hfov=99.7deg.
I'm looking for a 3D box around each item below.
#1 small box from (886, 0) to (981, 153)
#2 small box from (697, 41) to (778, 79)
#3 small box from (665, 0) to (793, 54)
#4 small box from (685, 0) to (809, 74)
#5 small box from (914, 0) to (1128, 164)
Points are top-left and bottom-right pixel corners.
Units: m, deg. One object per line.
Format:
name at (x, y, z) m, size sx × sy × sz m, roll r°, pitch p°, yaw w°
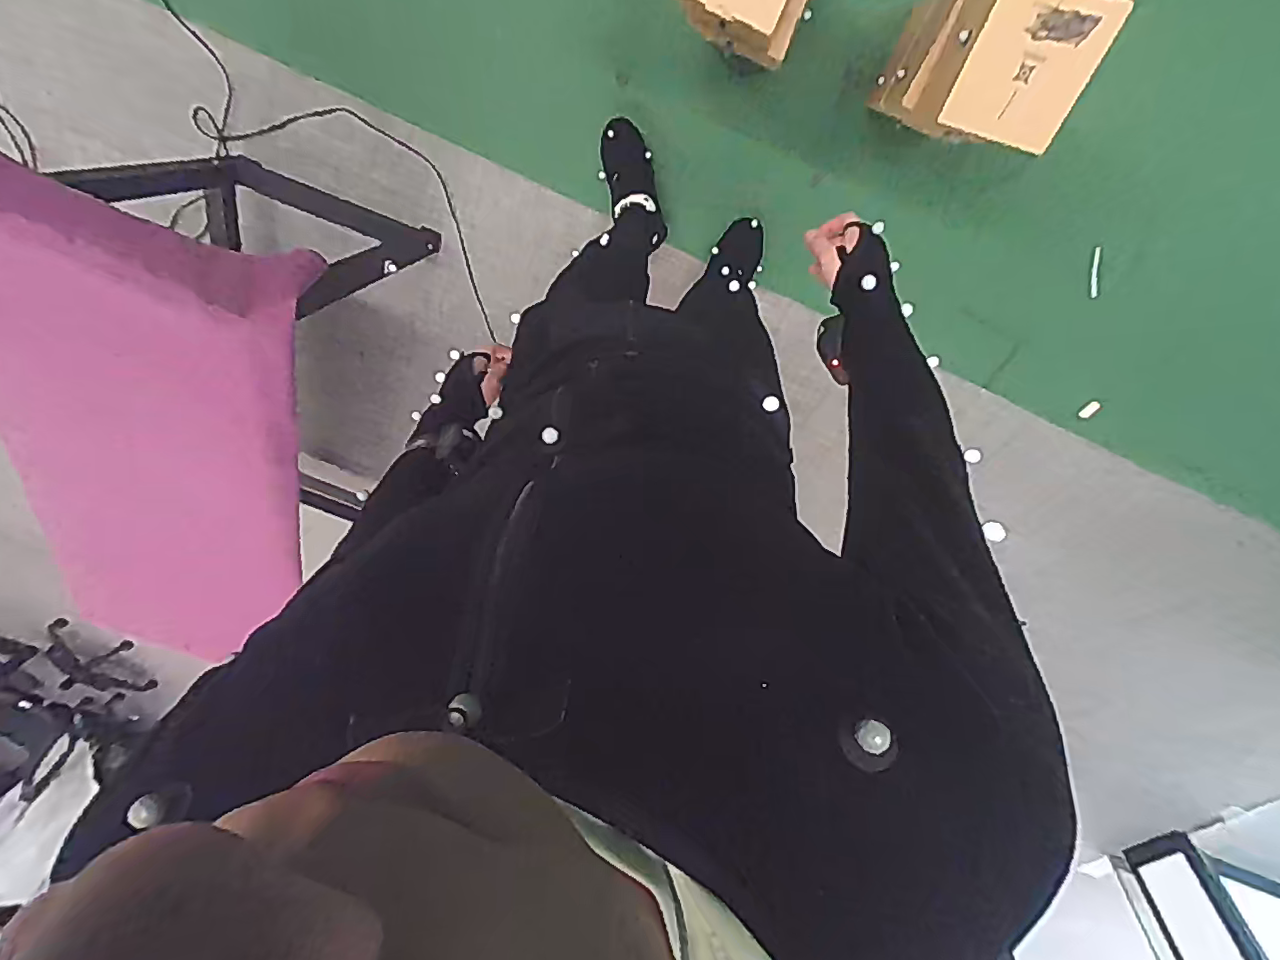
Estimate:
small box at (0.551, -0.696, 0.931) m, size 0.168 × 0.176 × 0.179 m, roll 21°, pitch 126°, yaw -5°
small box at (0.227, -0.914, 1.053) m, size 0.168 × 0.176 × 0.179 m, roll 22°, pitch 124°, yaw -3°
small box at (0.153, -0.750, 0.777) m, size 0.168 × 0.176 × 0.179 m, roll 23°, pitch 125°, yaw -3°
small box at (0.194, -0.822, 0.921) m, size 0.179 × 0.176 × 0.168 m, roll 22°, pitch 125°, yaw -3°
small box at (0.538, -0.598, 0.800) m, size 0.168 × 0.176 × 0.179 m, roll 17°, pitch 128°, yaw -1°
